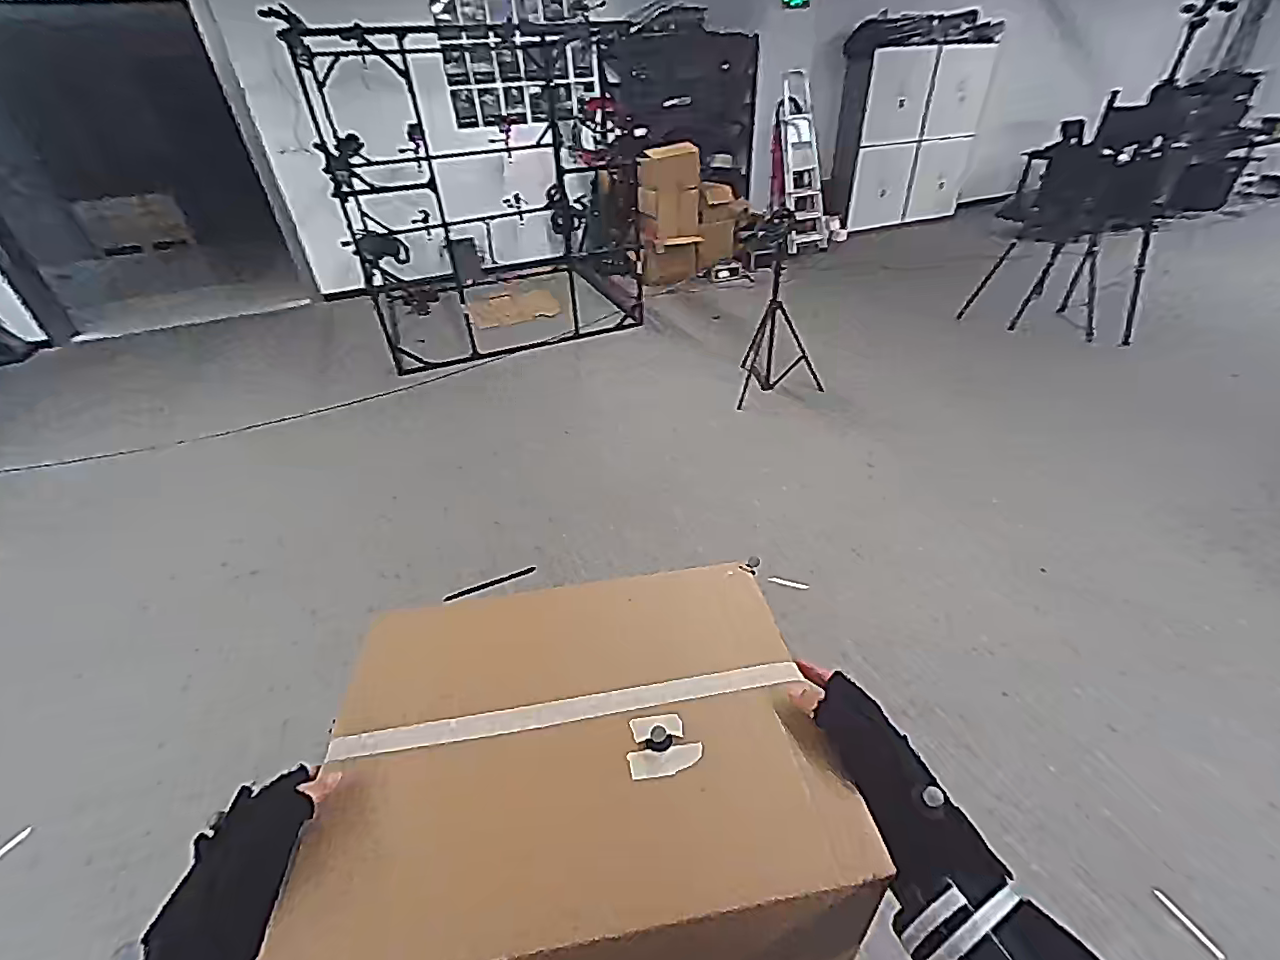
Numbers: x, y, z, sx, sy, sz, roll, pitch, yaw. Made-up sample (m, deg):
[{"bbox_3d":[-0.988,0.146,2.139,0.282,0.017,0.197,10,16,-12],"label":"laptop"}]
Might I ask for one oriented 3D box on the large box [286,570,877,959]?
[{"bbox_3d":[-0.045,0.330,0.558,0.408,0.320,0.320,-6,33,-6],"label":"large box"}]
